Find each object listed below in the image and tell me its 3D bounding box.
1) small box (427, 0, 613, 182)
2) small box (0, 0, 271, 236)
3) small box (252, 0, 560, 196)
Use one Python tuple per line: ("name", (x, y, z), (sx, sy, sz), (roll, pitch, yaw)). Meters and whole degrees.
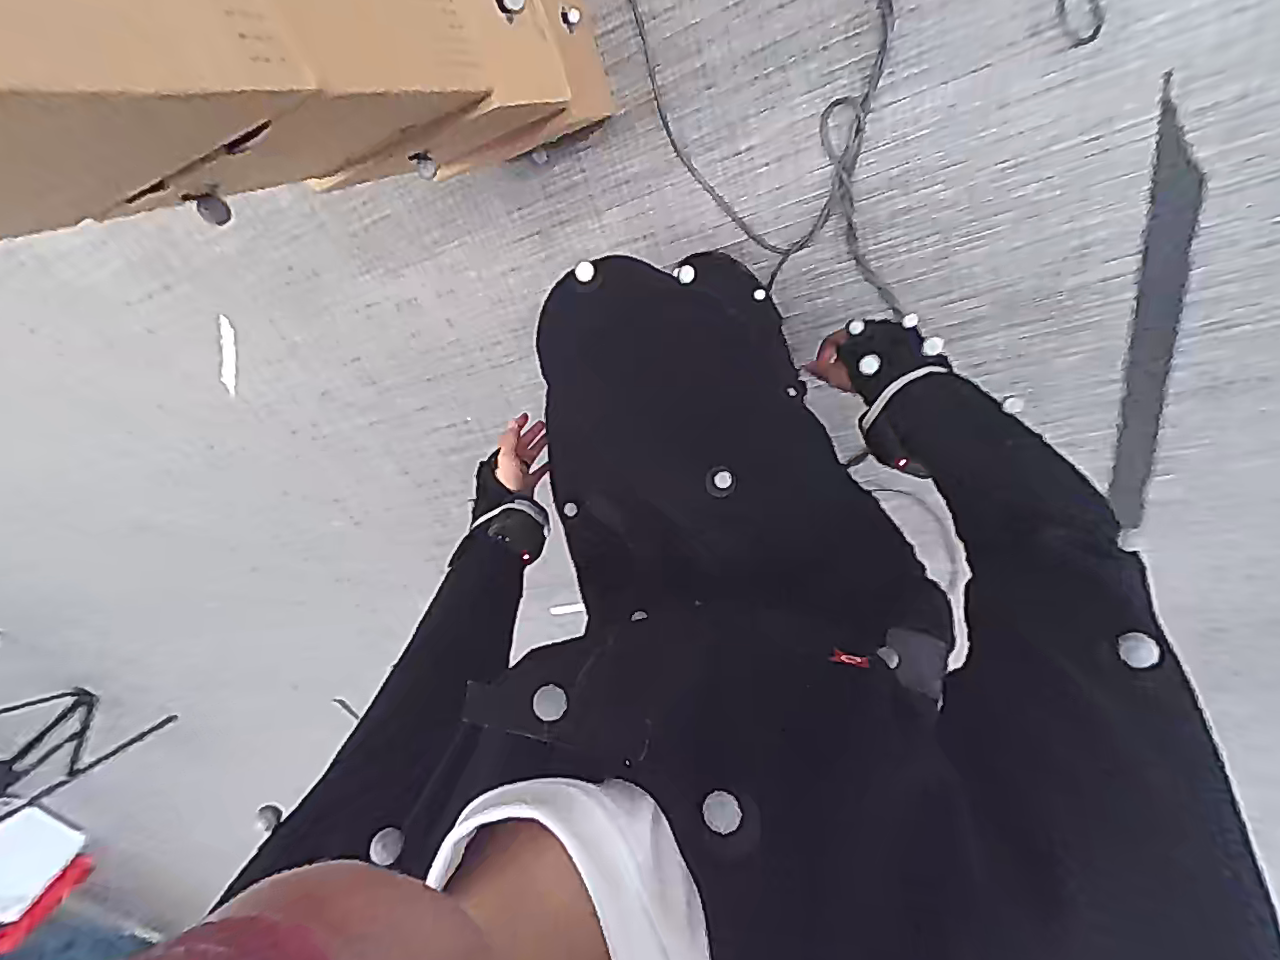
("small box", (-0.144, -0.427, 0.541), (0.168, 0.176, 0.179), (-9, 123, 20))
("small box", (-0.245, -0.161, 0.139), (0.179, 0.176, 0.168), (-9, 122, 20))
("small box", (-0.177, -0.342, 0.407), (0.179, 0.176, 0.168), (-9, 123, 21))
